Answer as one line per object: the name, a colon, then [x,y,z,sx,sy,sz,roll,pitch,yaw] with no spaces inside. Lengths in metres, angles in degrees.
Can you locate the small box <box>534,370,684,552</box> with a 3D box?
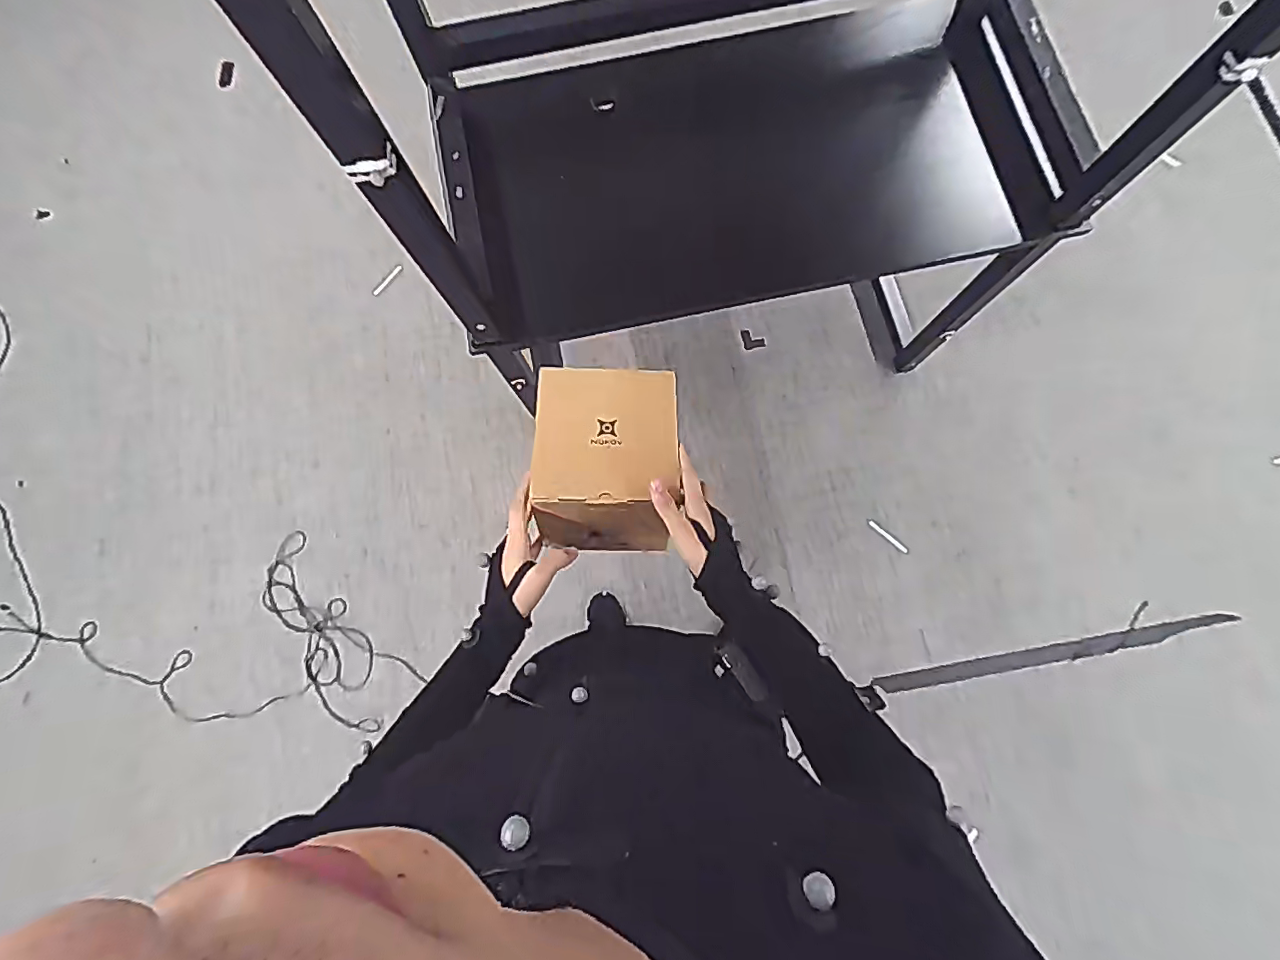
small box: [-0.040,-0.019,0.690,0.168,0.176,0.179,1,65,-4]
